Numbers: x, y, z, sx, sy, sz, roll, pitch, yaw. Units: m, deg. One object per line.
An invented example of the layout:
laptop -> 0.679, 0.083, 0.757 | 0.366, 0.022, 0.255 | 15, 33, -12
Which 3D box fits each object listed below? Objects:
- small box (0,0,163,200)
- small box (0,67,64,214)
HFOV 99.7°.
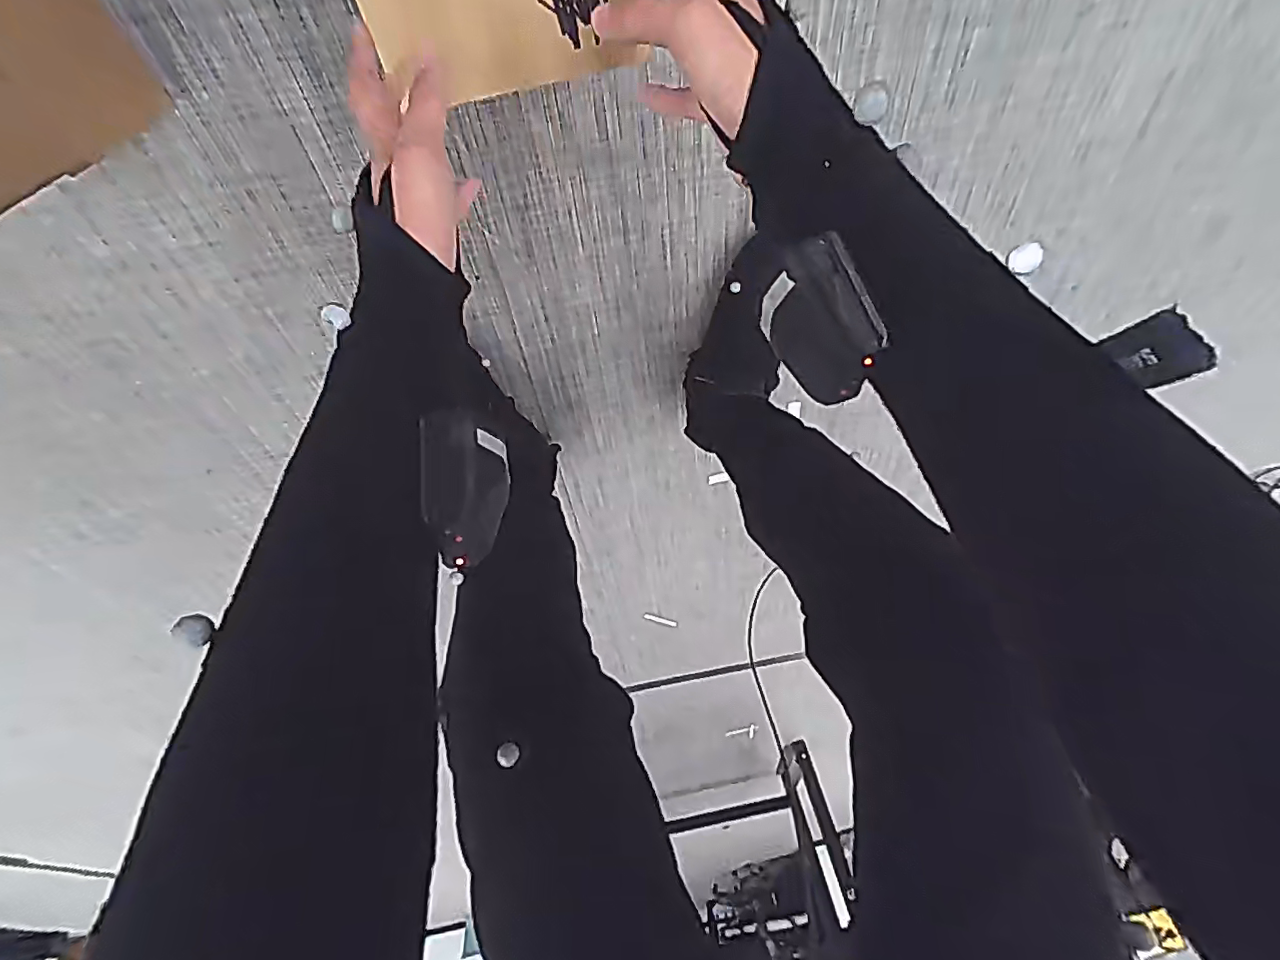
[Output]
small box -> -0.479, -0.289, 0.347 | 0.168, 0.176, 0.179 | -13, 138, 1
small box -> -0.440, -0.175, 0.236 | 0.179, 0.176, 0.168 | -14, 138, 2
